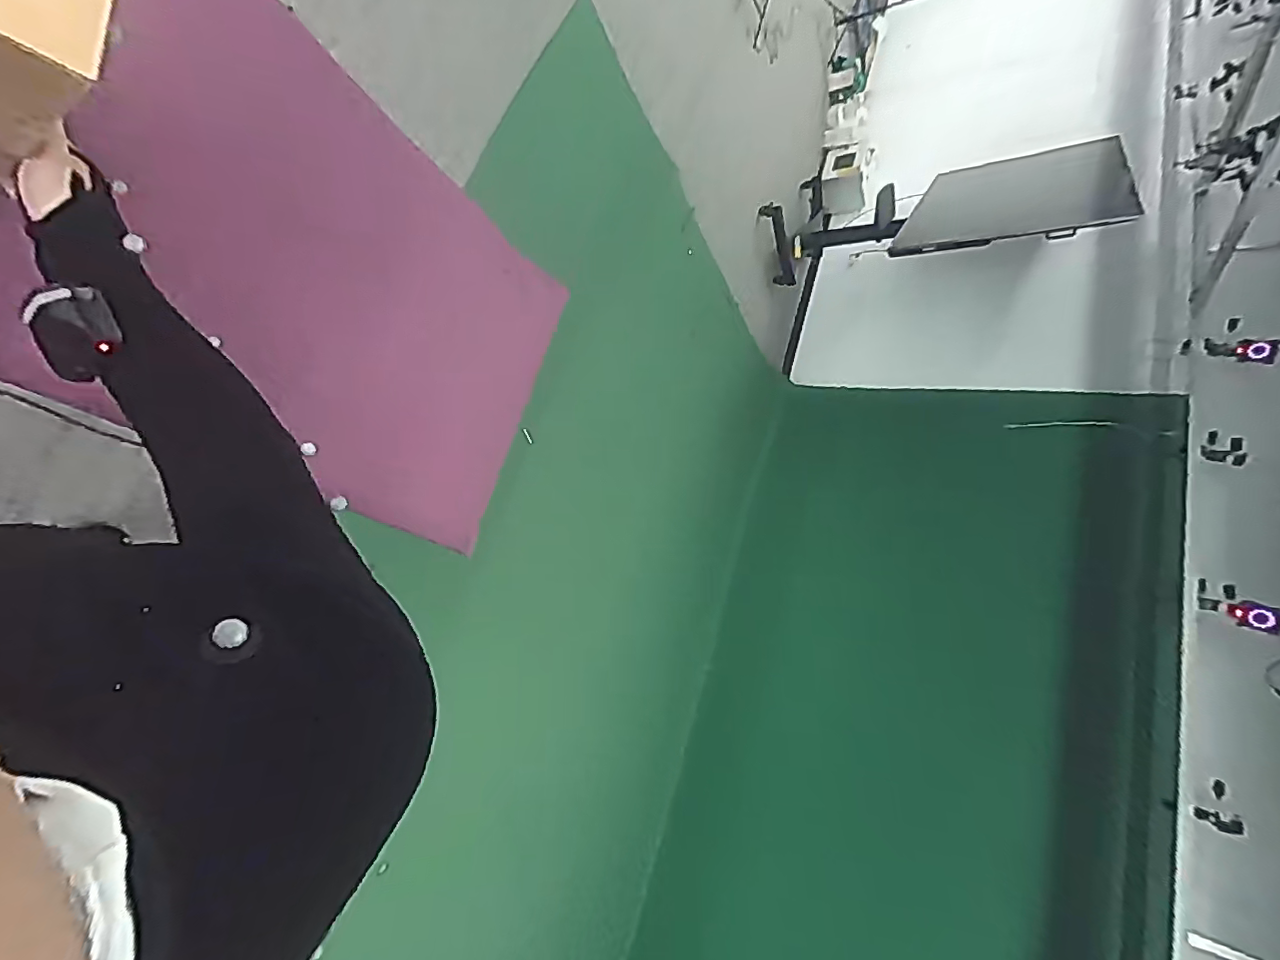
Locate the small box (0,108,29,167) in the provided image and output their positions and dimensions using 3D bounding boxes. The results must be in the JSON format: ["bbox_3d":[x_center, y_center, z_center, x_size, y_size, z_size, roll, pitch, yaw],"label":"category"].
[{"bbox_3d":[-0.657,-0.390,0.460,0.179,0.176,0.168,14,89,-56],"label":"small box"}]

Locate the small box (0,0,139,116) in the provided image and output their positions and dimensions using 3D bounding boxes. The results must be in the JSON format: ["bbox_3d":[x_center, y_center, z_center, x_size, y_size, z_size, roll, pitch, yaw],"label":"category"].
[{"bbox_3d":[-0.392,-0.325,0.279,0.179,0.176,0.168,10,92,-56],"label":"small box"}]
